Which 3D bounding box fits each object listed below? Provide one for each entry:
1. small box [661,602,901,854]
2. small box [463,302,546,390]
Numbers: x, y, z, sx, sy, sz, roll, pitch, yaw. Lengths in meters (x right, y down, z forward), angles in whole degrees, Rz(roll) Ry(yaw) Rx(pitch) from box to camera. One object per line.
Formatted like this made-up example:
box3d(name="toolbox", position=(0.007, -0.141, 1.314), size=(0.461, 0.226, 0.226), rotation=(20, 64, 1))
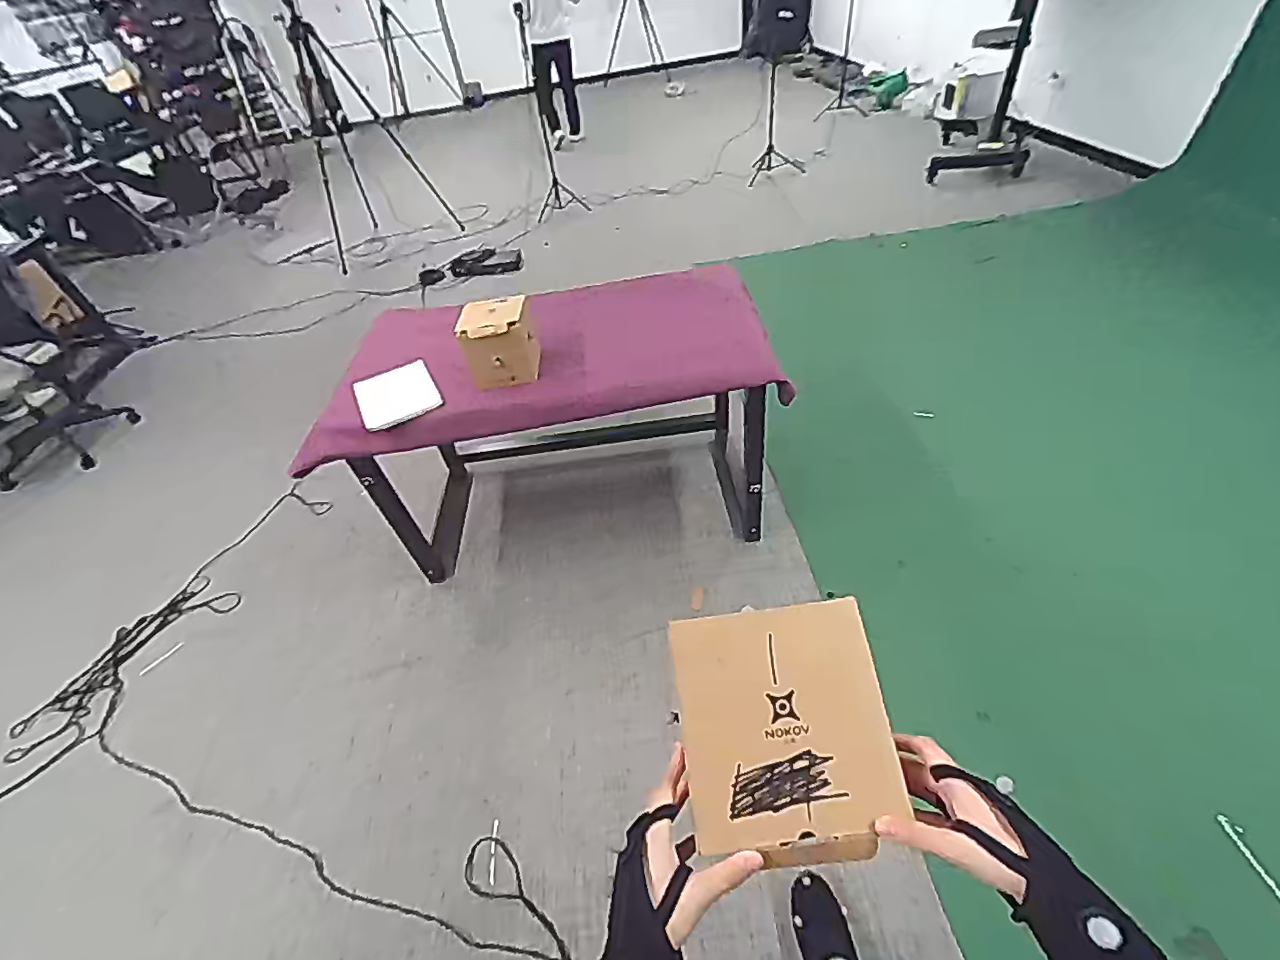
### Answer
box3d(name="small box", position=(0.114, 0.224, 0.514), size=(0.168, 0.176, 0.179), rotation=(-7, 67, 0))
box3d(name="small box", position=(-0.357, -0.355, 1.462), size=(0.168, 0.176, 0.179), rotation=(-7, 44, 2))
